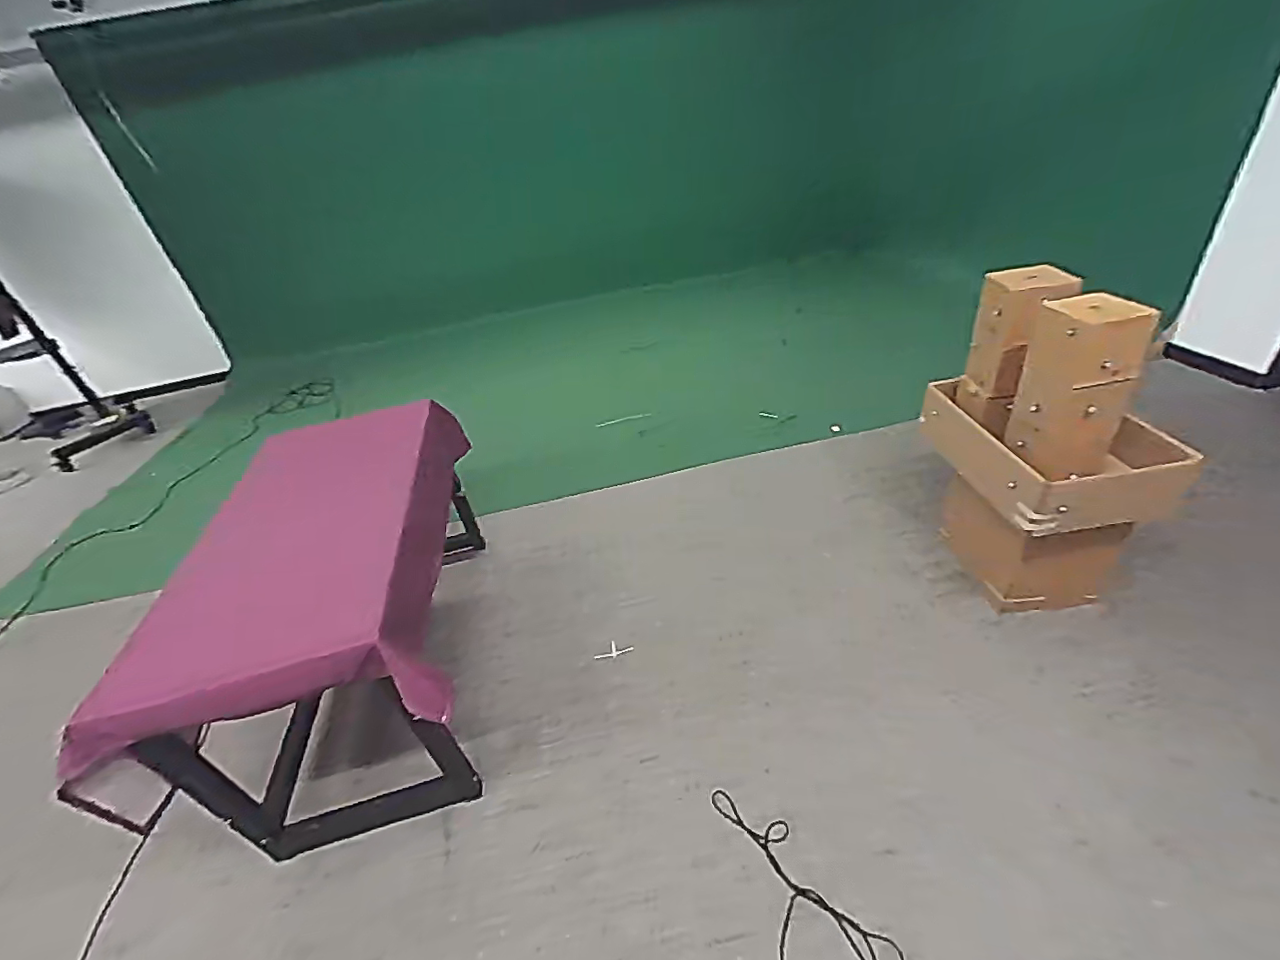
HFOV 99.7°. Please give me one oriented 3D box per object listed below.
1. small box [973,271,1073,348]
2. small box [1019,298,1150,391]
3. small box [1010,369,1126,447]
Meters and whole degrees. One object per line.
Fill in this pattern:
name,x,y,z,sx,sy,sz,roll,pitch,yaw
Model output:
small box,1.113,-0.500,1.592,0.179,0.176,0.168,-6,36,5
small box,1.110,-0.344,1.371,0.168,0.176,0.179,-11,34,-1
small box,1.137,-0.207,1.458,0.179,0.176,0.168,-12,34,-1
